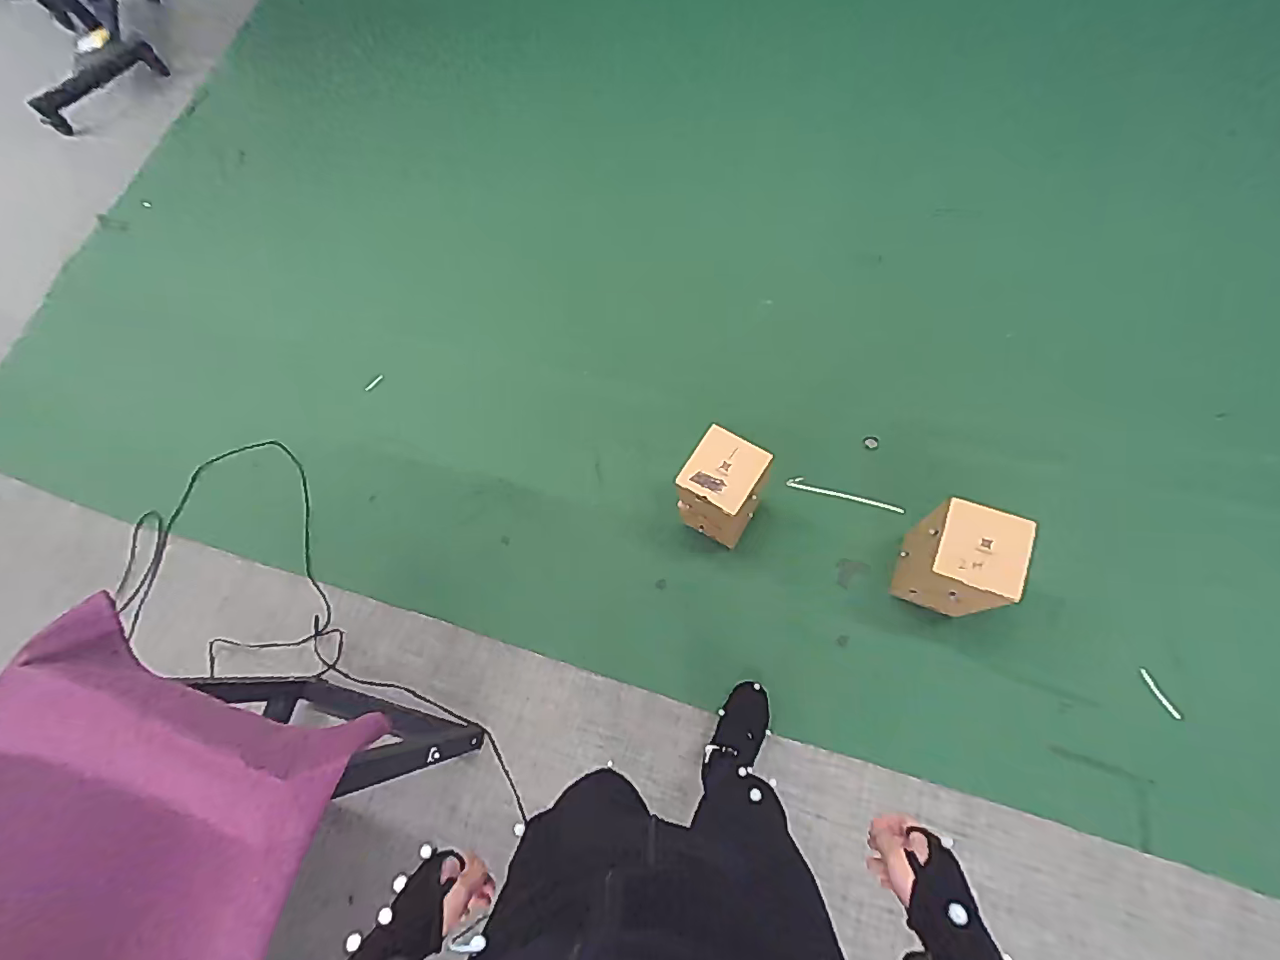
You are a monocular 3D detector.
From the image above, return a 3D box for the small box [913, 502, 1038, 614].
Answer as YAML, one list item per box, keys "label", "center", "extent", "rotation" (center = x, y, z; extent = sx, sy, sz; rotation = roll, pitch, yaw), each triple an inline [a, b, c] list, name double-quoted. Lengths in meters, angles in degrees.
- label: "small box"
  center: [0.719, 0.175, 1.176]
  extent: [0.168, 0.176, 0.179]
  rotation: [20, 75, 16]

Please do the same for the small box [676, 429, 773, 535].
- label: "small box"
  center: [0.210, 0.012, 1.327]
  extent: [0.168, 0.176, 0.179]
  rotation: [31, 78, 18]

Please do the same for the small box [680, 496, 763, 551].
- label: "small box"
  center: [0.227, 0.070, 1.480]
  extent: [0.168, 0.176, 0.179]
  rotation: [28, 79, 18]
